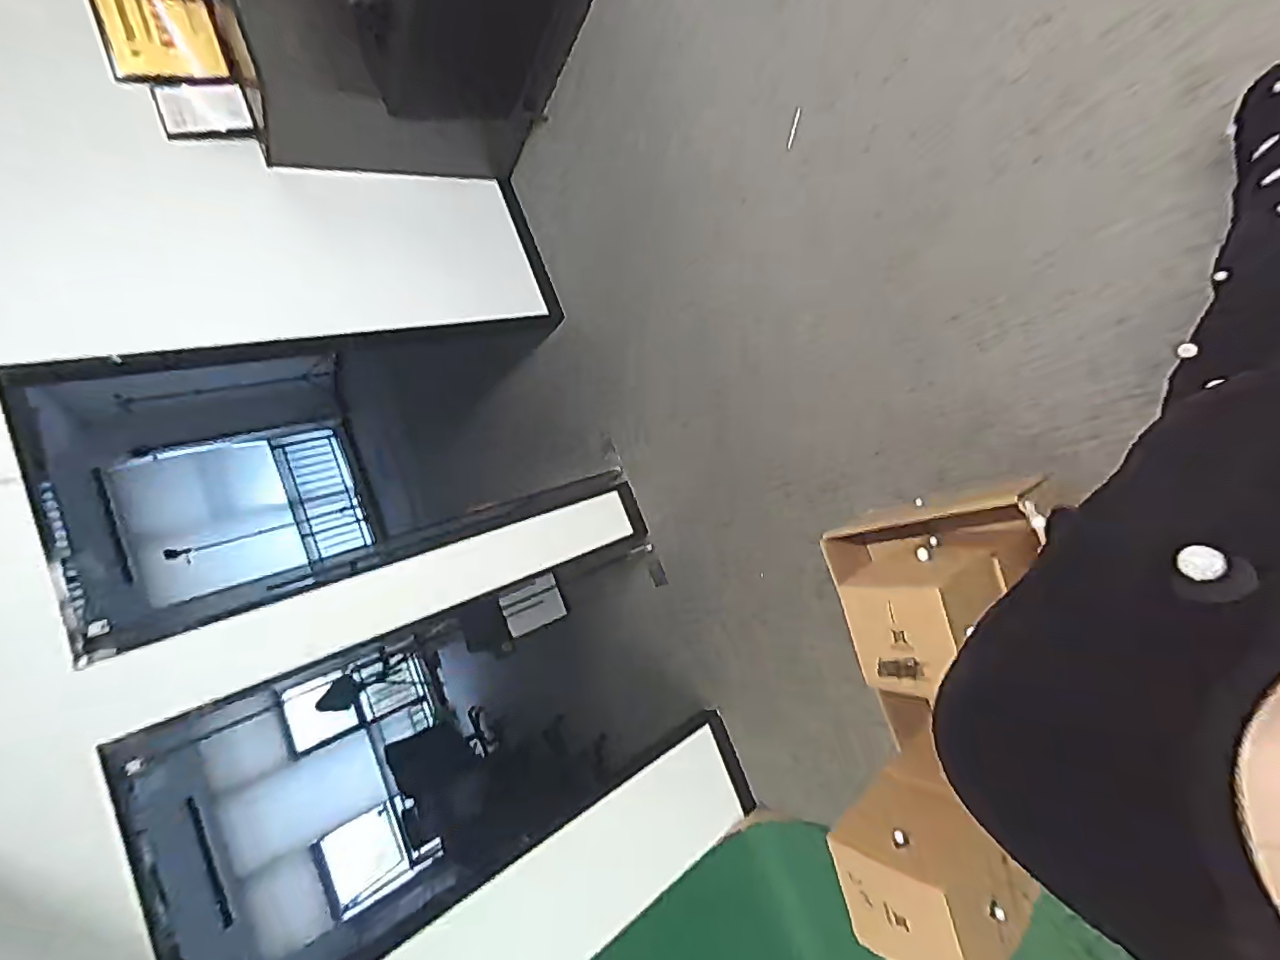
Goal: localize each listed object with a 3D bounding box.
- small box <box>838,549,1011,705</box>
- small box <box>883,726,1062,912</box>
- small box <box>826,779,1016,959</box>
[{"bbox_3d":[0.451,0.220,0.855,0.168,0.176,0.179,-14,93,55],"label":"small box"},{"bbox_3d":[0.534,0.525,0.872,0.179,0.176,0.168,-16,91,55],"label":"small box"},{"bbox_3d":[0.406,0.568,0.777,0.179,0.176,0.168,-14,92,56],"label":"small box"}]
